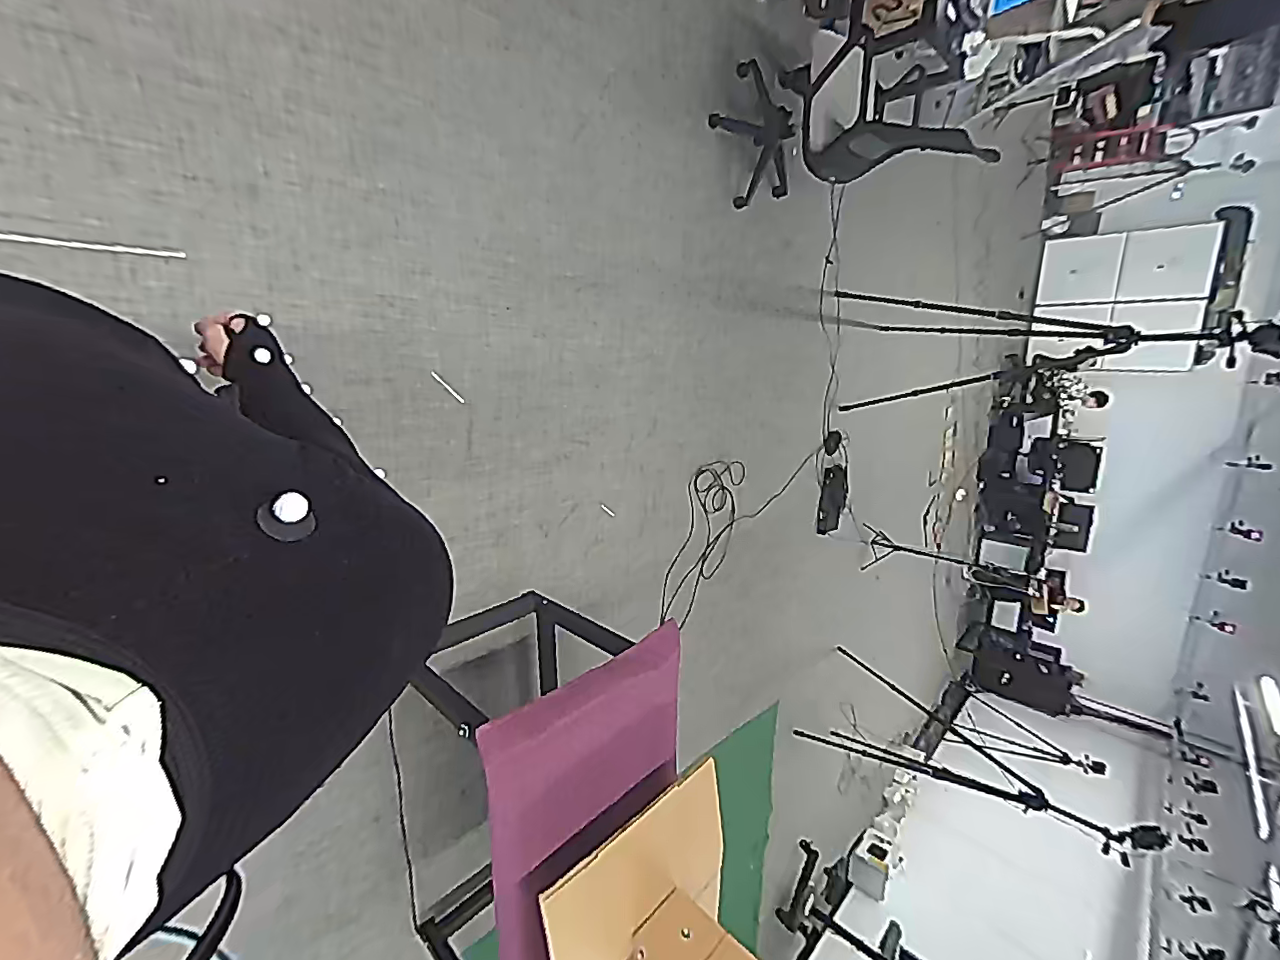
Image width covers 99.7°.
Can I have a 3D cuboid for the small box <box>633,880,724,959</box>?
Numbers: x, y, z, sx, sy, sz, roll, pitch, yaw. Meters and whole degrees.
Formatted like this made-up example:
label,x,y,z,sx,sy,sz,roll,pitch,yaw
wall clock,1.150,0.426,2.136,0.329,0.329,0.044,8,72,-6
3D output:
label,x,y,z,sx,sy,sz,roll,pitch,yaw
small box,0.097,1.211,1.407,0.179,0.176,0.168,-17,115,-44
